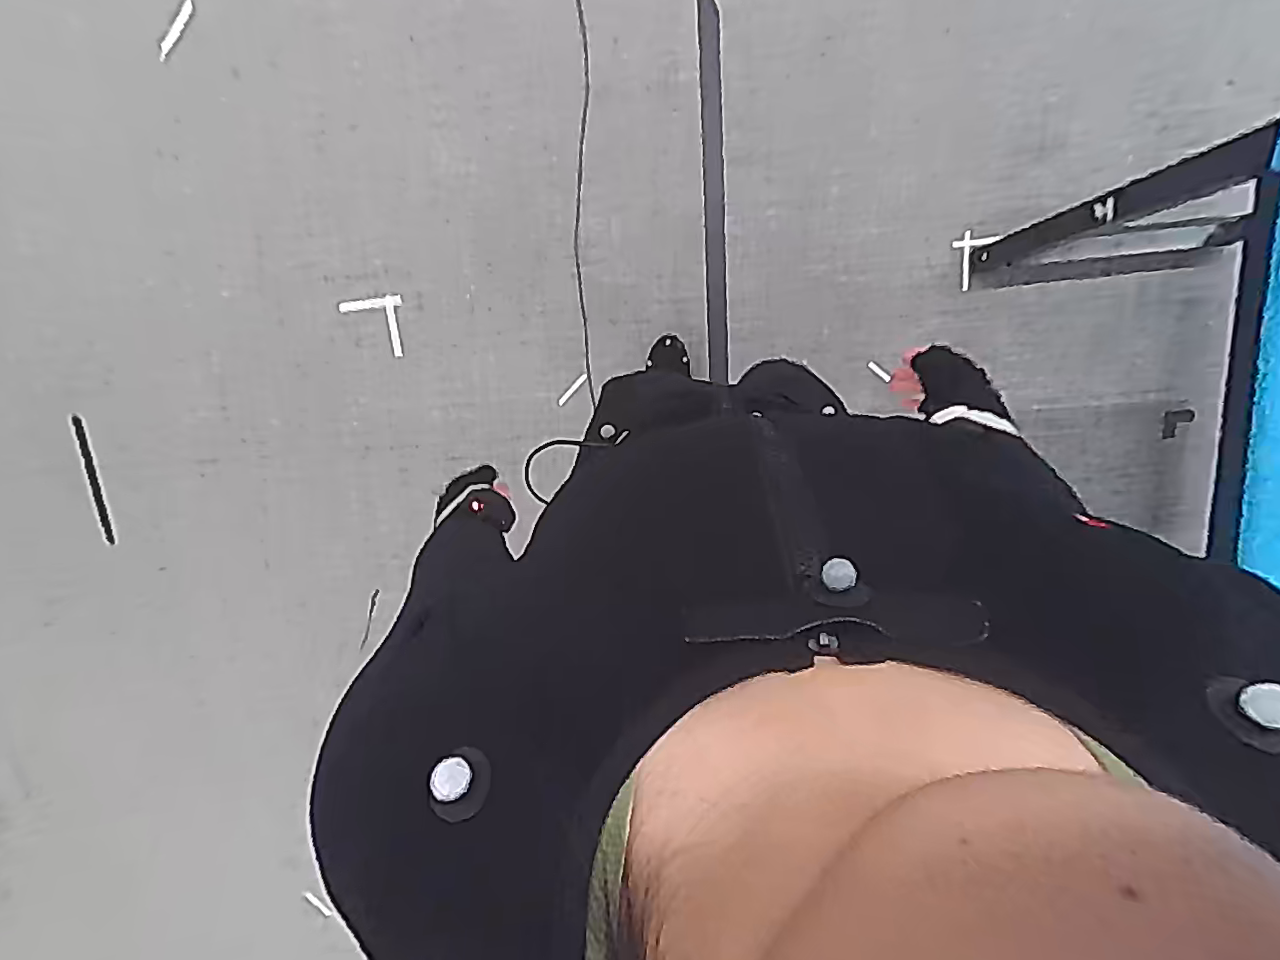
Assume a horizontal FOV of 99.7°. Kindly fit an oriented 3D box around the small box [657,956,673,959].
[{"bbox_3d":[0.064,1.696,1.736,0.179,0.176,0.168,-33,95,9],"label":"small box"}]
